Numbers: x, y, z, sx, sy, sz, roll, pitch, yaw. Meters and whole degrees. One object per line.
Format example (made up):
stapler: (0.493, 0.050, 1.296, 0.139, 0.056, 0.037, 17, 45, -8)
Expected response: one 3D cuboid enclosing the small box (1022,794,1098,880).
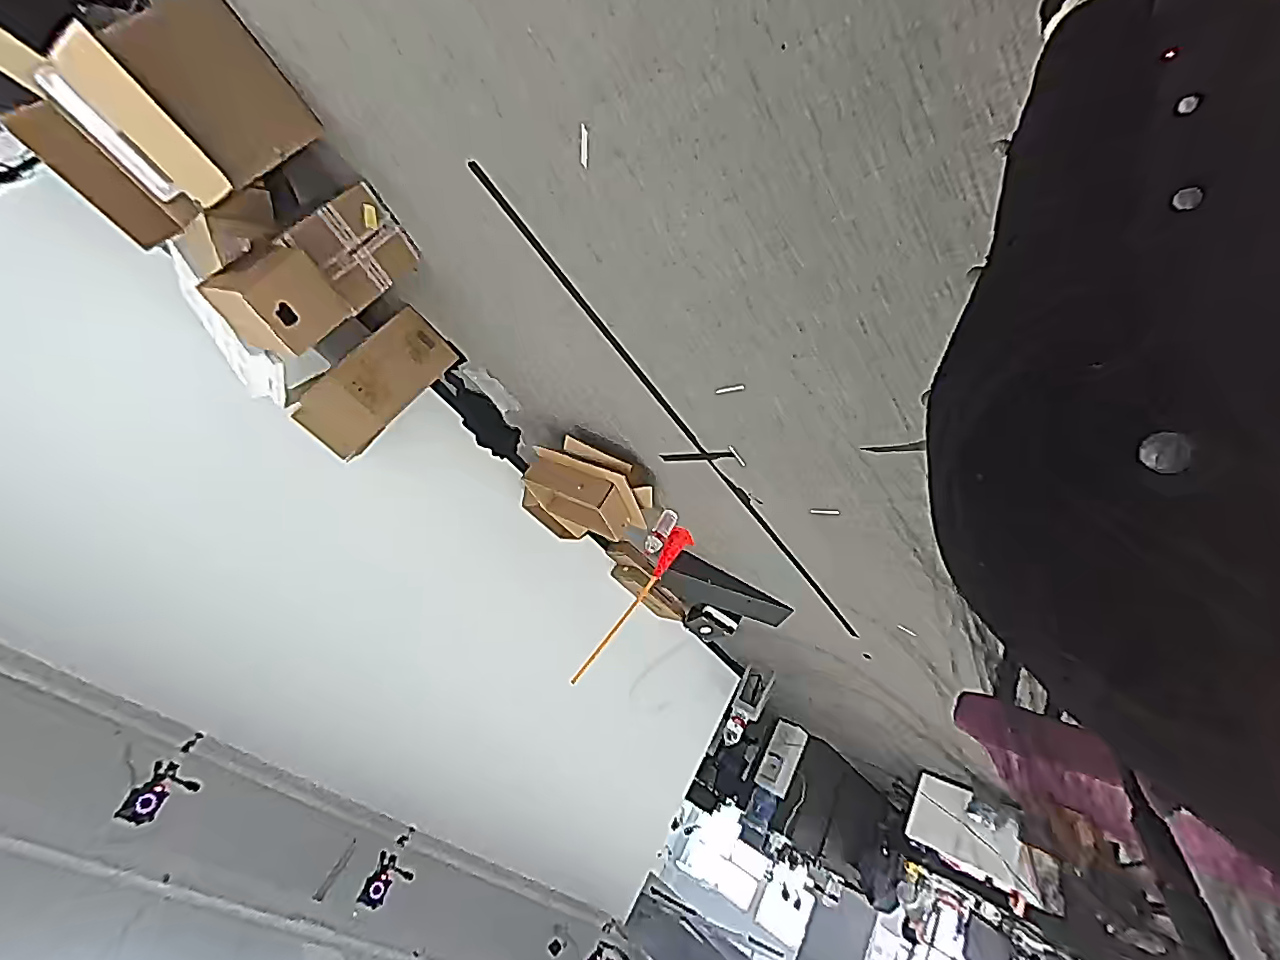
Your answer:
small box: (1.454, 1.224, 1.863, 0.179, 0.176, 0.168, 1, 139, 51)
